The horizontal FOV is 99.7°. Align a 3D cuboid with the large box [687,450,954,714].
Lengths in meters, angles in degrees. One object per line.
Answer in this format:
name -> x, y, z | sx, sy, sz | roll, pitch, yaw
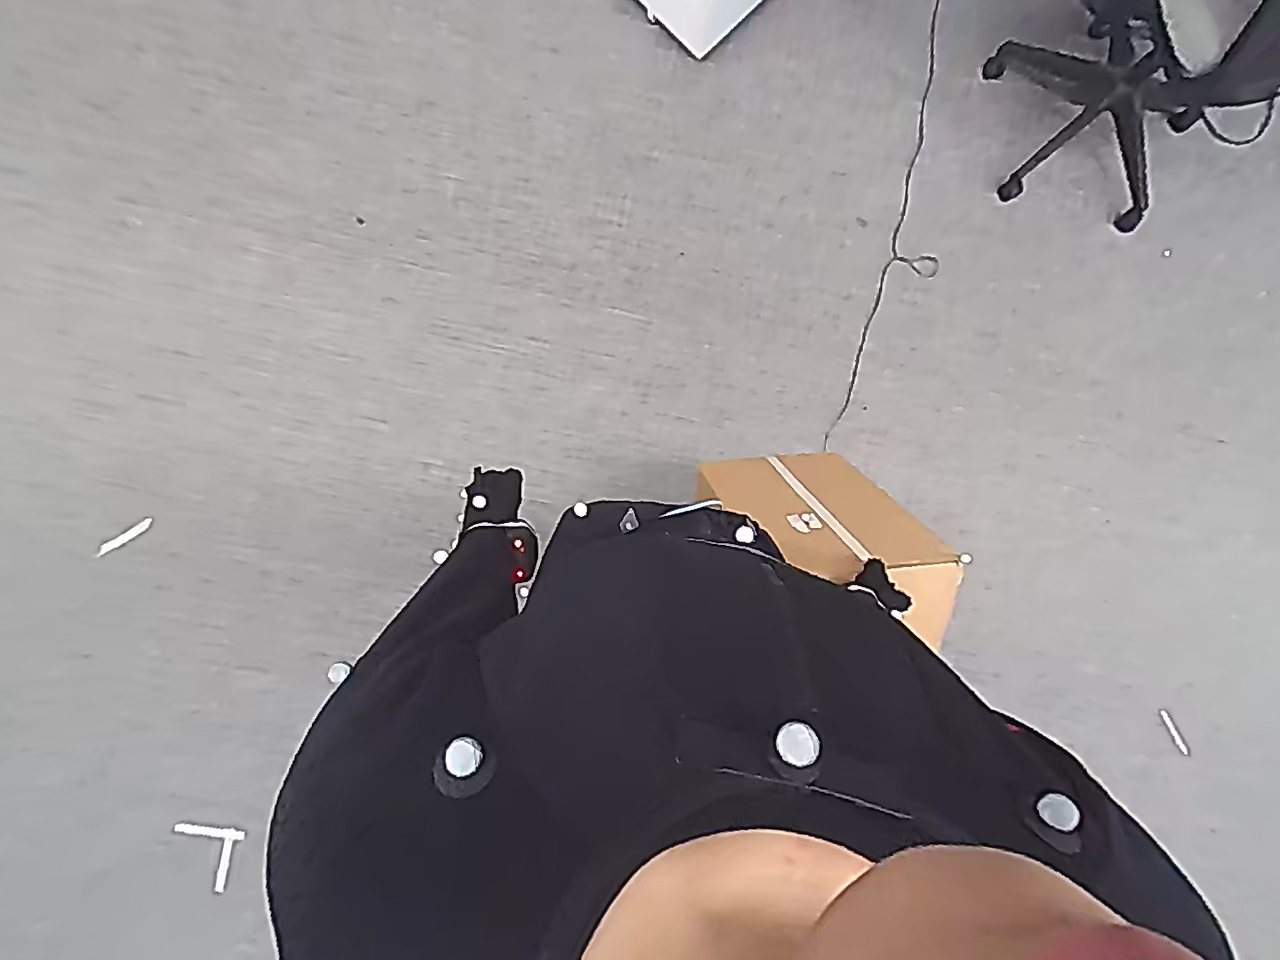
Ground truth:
large box -> 0.294, 0.169, 1.045 | 0.320, 0.408, 0.320 | -5, 119, -9
